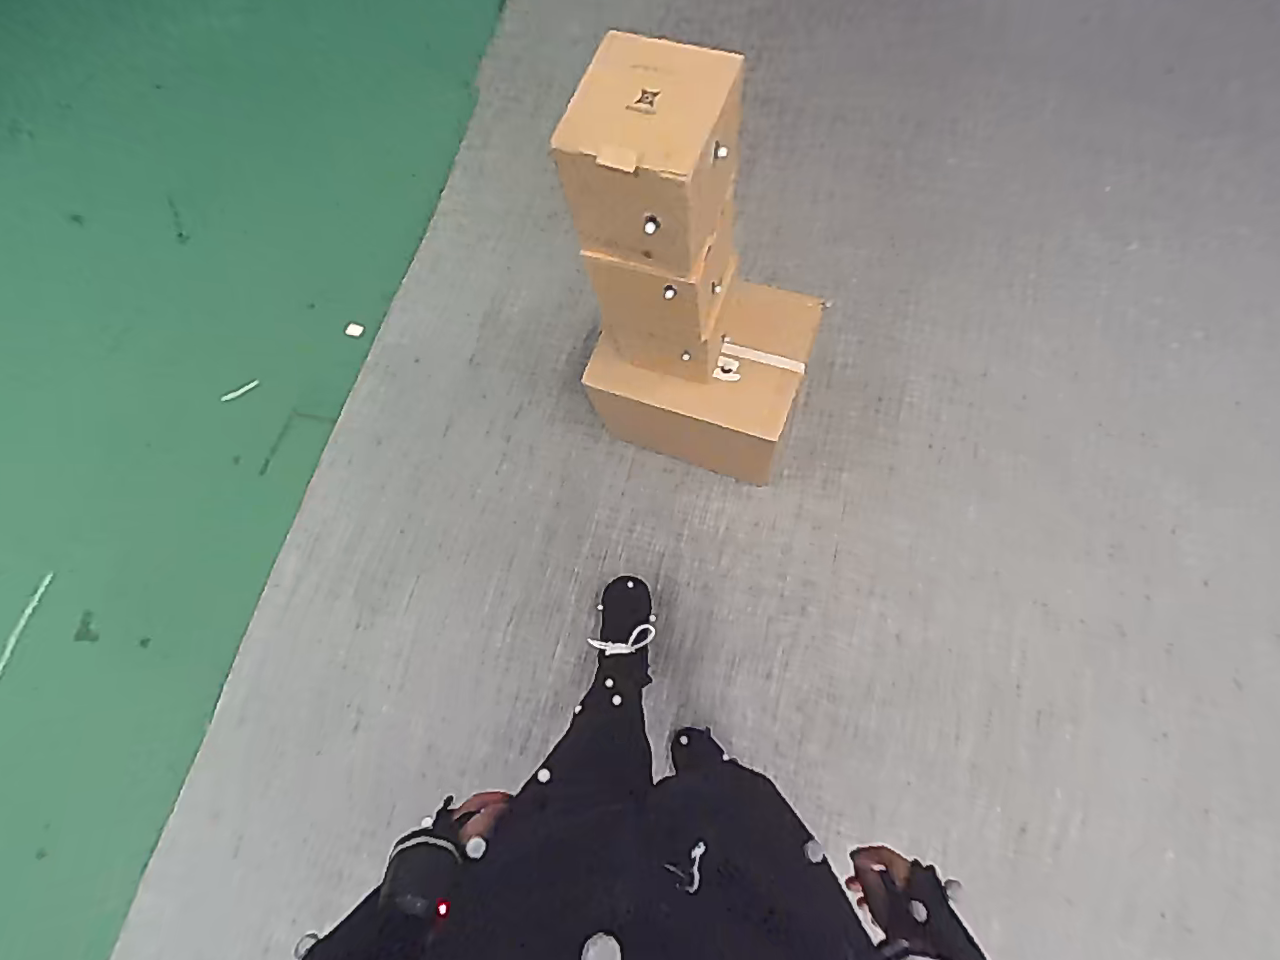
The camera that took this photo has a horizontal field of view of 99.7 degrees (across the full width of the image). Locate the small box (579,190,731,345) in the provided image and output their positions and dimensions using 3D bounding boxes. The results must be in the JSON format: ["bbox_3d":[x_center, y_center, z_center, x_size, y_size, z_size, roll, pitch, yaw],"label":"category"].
[{"bbox_3d":[0.030,-0.331,0.829,0.179,0.176,0.168,16,76,11],"label":"small box"}]

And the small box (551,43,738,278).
[{"bbox_3d":[0.013,-0.386,0.676,0.168,0.176,0.179,20,76,10],"label":"small box"}]

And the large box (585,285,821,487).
[{"bbox_3d":[0.137,-0.217,1.208,0.408,0.320,0.320,18,78,11],"label":"large box"}]
